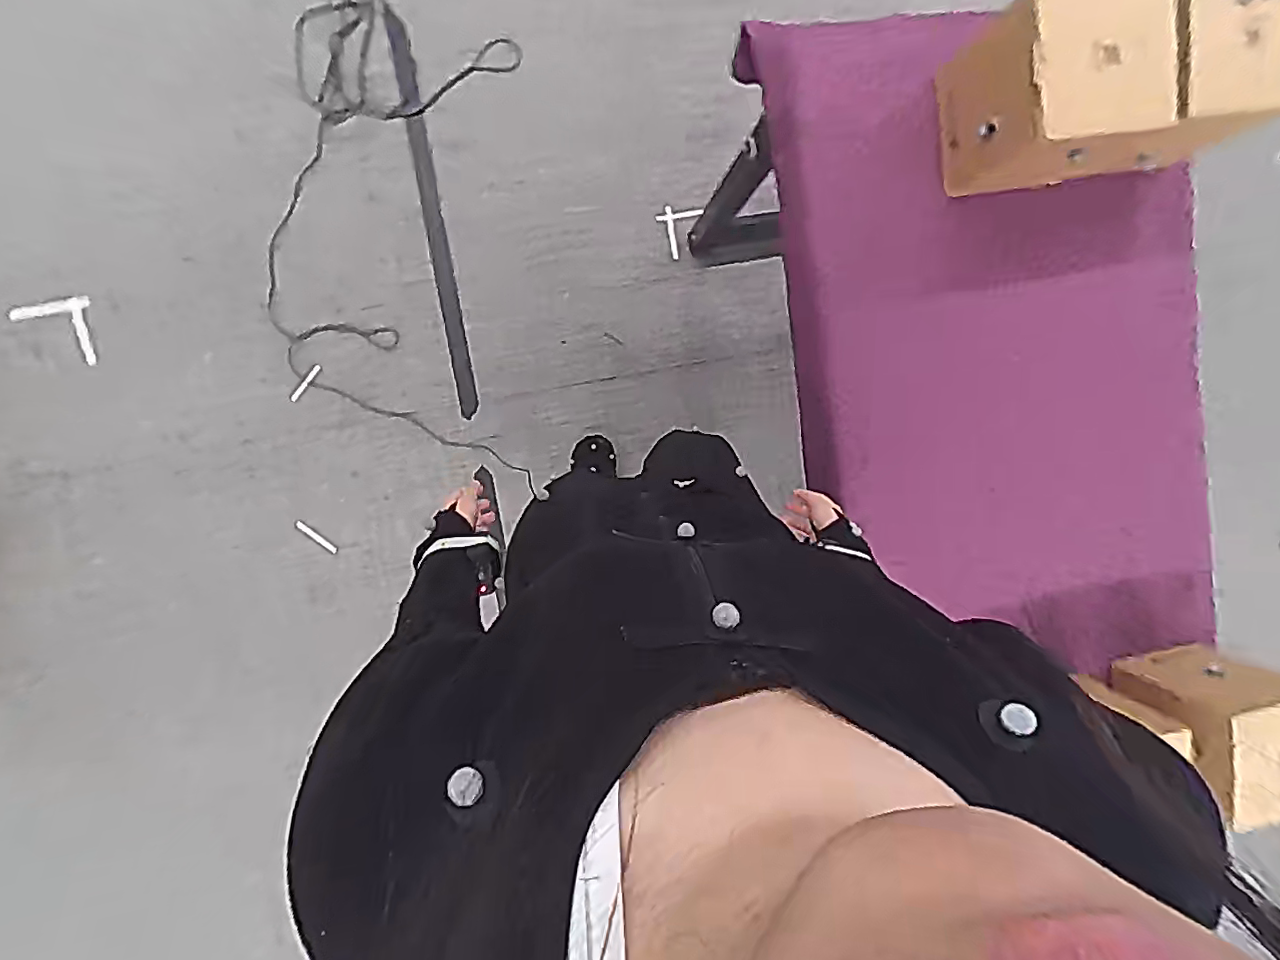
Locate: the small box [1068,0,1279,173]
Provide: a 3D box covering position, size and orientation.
[{"bbox_3d":[0.701,-0.531,0.702,0.168,0.176,0.179,-8,99,-4],"label":"small box"}]

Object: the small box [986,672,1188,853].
[{"bbox_3d":[0.649,0.406,0.805,0.179,0.176,0.168,-5,96,-8],"label":"small box"}]

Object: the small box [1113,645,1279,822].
[{"bbox_3d":[0.869,0.368,0.822,0.168,0.176,0.179,-9,98,-5],"label":"small box"}]
